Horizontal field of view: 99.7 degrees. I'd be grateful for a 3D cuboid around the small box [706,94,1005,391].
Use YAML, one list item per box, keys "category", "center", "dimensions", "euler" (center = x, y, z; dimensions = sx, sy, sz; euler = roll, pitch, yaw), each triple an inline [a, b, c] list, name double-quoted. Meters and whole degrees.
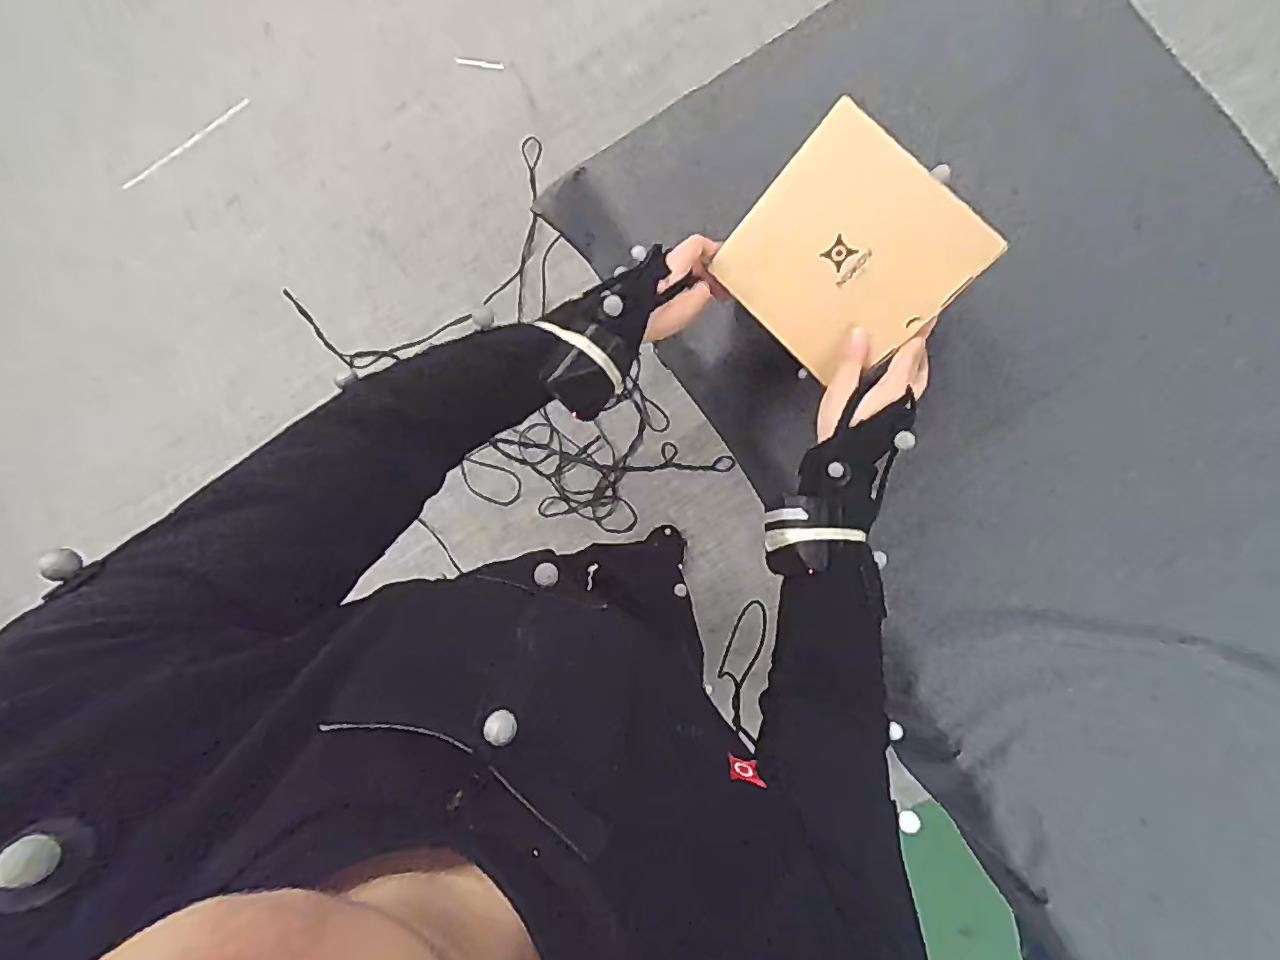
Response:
- category: "small box"
  center: [0.197, -0.209, 0.518]
  dimensions: [0.179, 0.176, 0.168]
  euler: [45, 118, 5]
